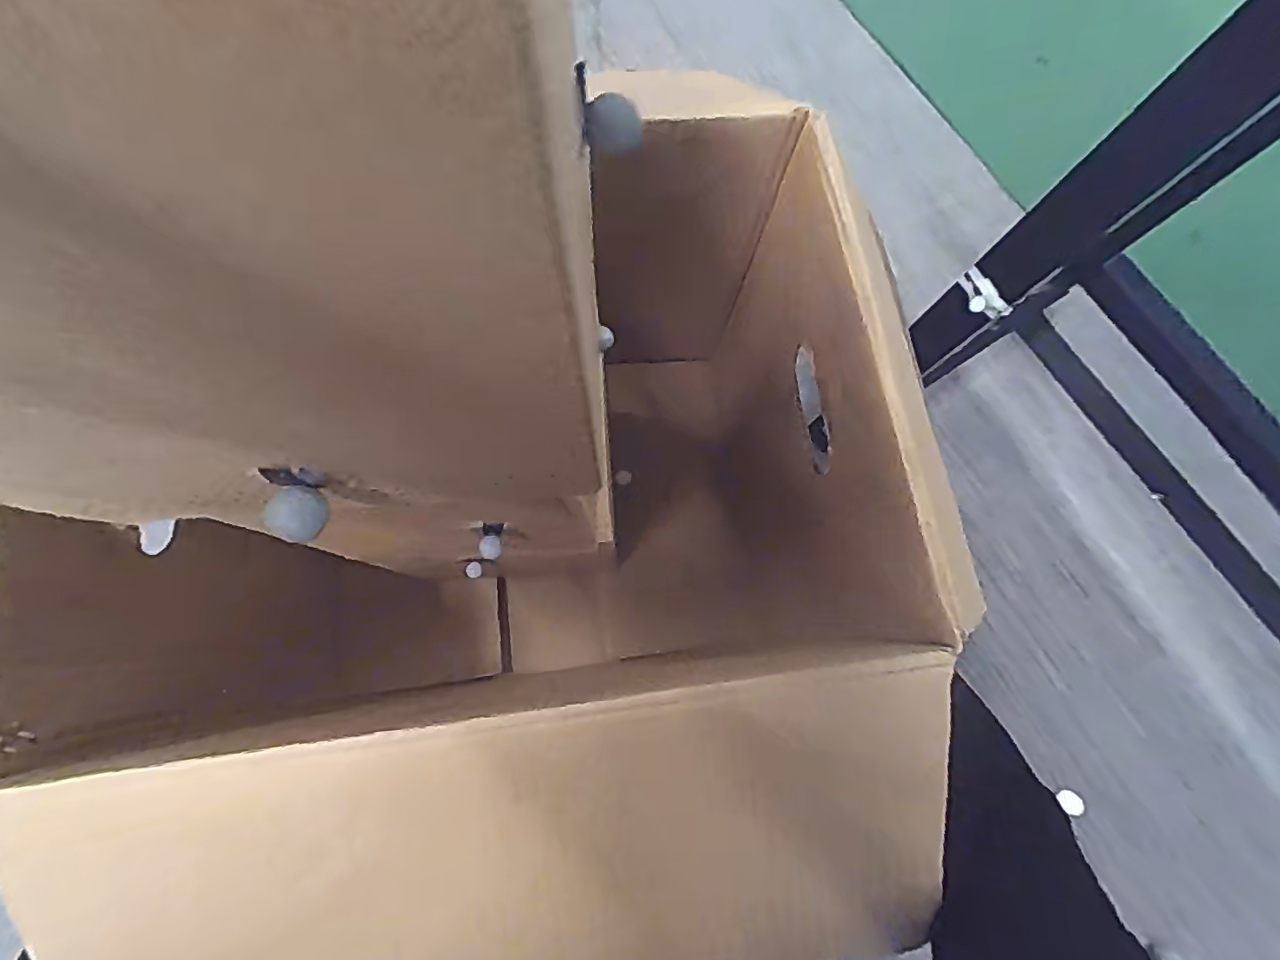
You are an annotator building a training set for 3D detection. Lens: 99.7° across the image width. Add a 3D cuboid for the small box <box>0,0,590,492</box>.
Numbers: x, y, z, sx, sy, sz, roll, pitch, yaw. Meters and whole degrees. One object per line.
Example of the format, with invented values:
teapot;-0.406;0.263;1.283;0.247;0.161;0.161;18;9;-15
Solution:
small box;-0.102;-0.097;0.130;0.179;0.176;0.168;-3;75;-3
